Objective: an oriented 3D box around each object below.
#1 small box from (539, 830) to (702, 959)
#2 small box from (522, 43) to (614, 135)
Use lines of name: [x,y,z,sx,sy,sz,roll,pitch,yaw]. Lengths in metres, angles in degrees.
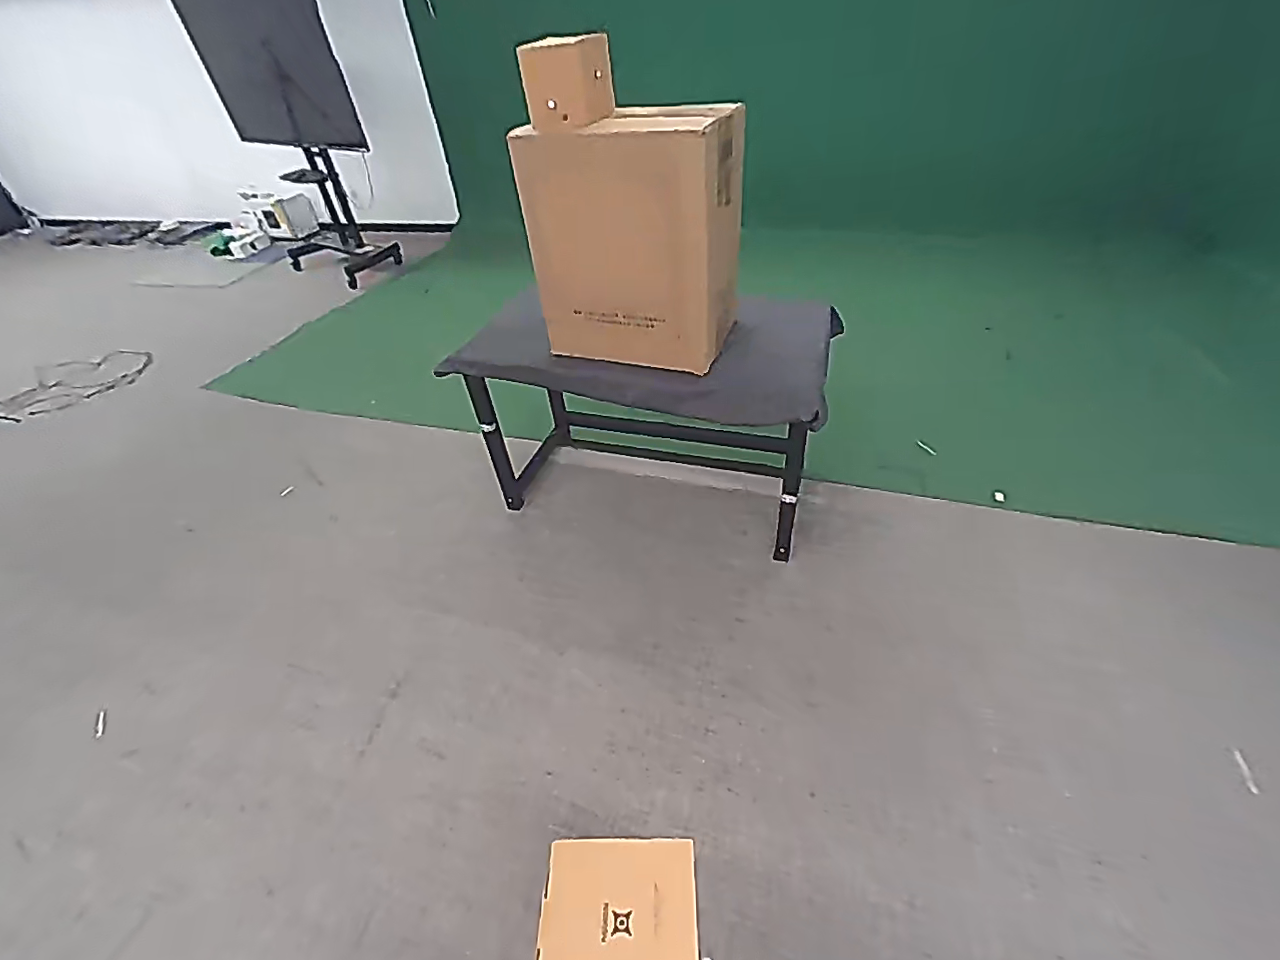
small box: [-0.017,0.546,0.652,0.179,0.176,0.168,-2,39,2]
small box: [-0.176,-1.006,1.394,0.168,0.176,0.179,11,46,20]
